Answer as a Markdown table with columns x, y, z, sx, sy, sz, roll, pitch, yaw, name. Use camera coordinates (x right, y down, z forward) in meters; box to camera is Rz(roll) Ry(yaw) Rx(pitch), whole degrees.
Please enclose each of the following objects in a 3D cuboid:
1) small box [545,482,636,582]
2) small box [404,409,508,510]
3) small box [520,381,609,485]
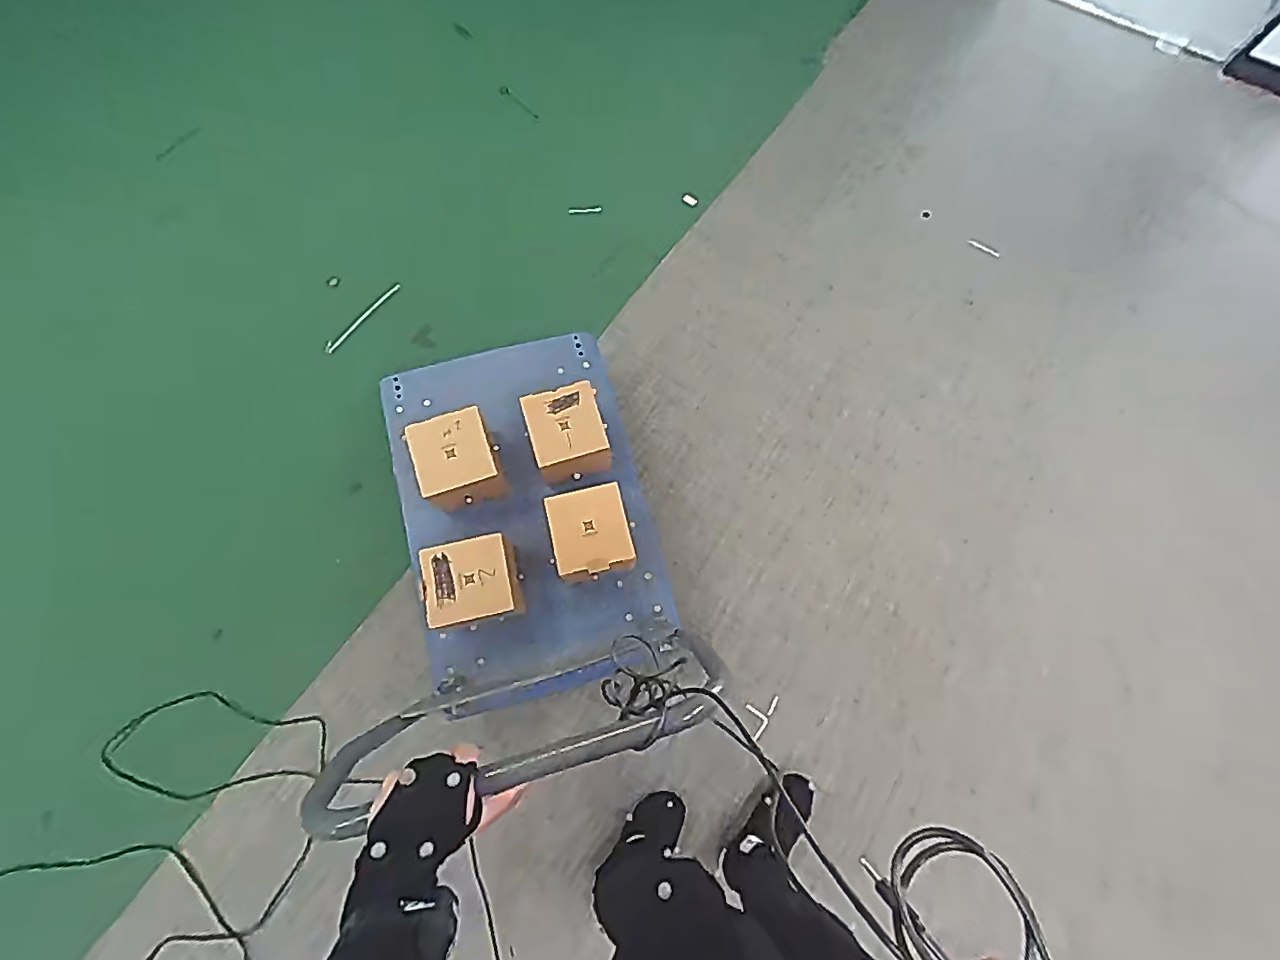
| x | y | z | sx | sy | sz | roll | pitch | yaw | name |
| --- | --- | --- | --- | --- | --- | --- | --- | --- | --- |
| -0.112 | 0.124 | 1.230 | 0.168 | 0.176 | 0.179 | -14 | 76 | -6 | small box |
| -0.421 | -0.038 | 1.261 | 0.168 | 0.176 | 0.179 | -18 | 76 | -8 | small box |
| -0.175 | -0.106 | 1.289 | 0.168 | 0.176 | 0.179 | -17 | 77 | -6 | small box |
